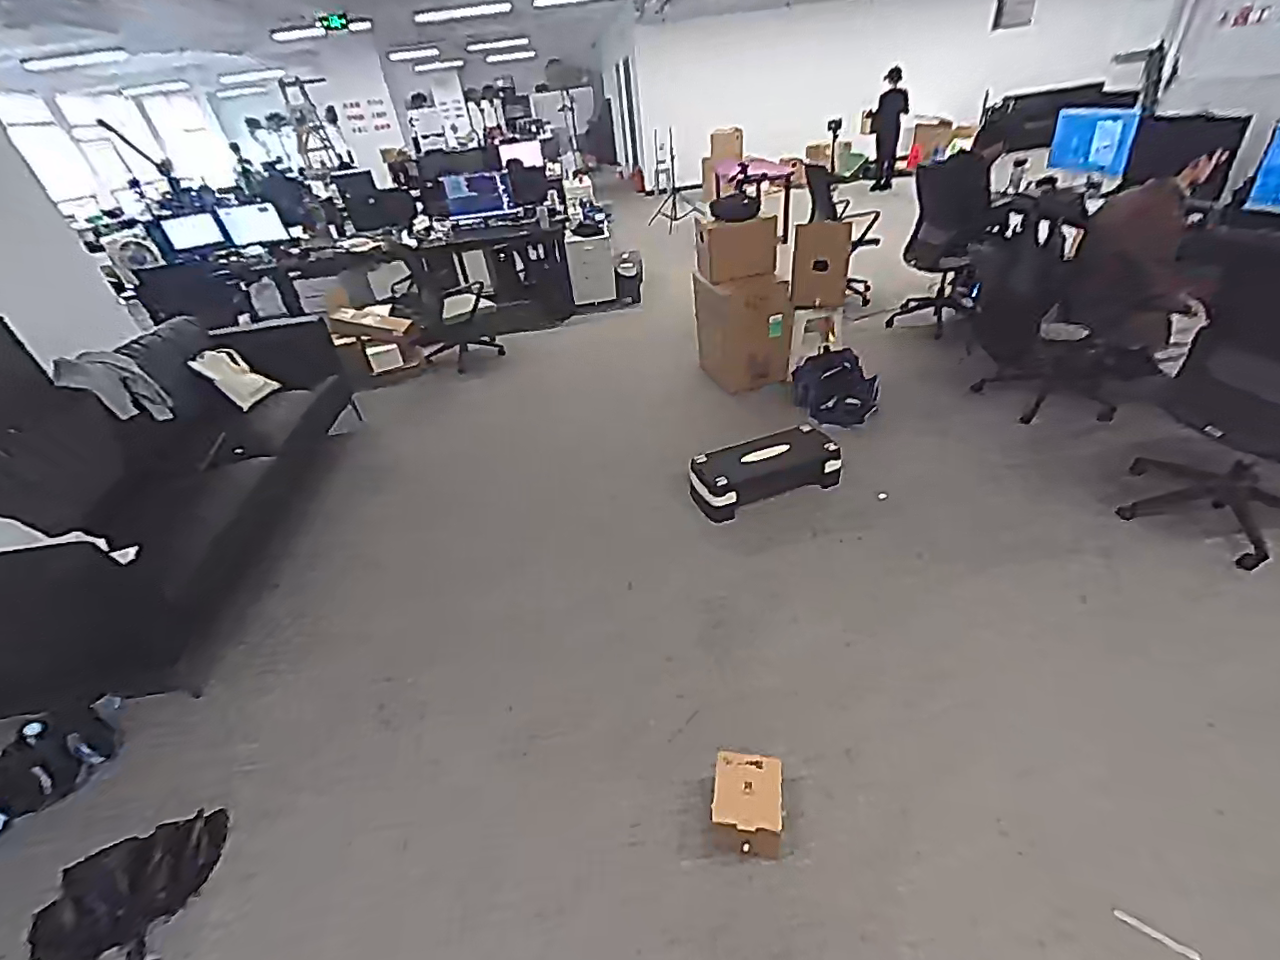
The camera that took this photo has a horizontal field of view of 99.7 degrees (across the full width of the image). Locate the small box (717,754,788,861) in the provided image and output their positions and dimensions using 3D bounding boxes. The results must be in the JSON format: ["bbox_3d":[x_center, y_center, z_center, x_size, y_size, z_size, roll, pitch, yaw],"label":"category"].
[{"bbox_3d":[0.291,0.836,1.380,0.168,0.176,0.179,0,37,14],"label":"small box"}]
